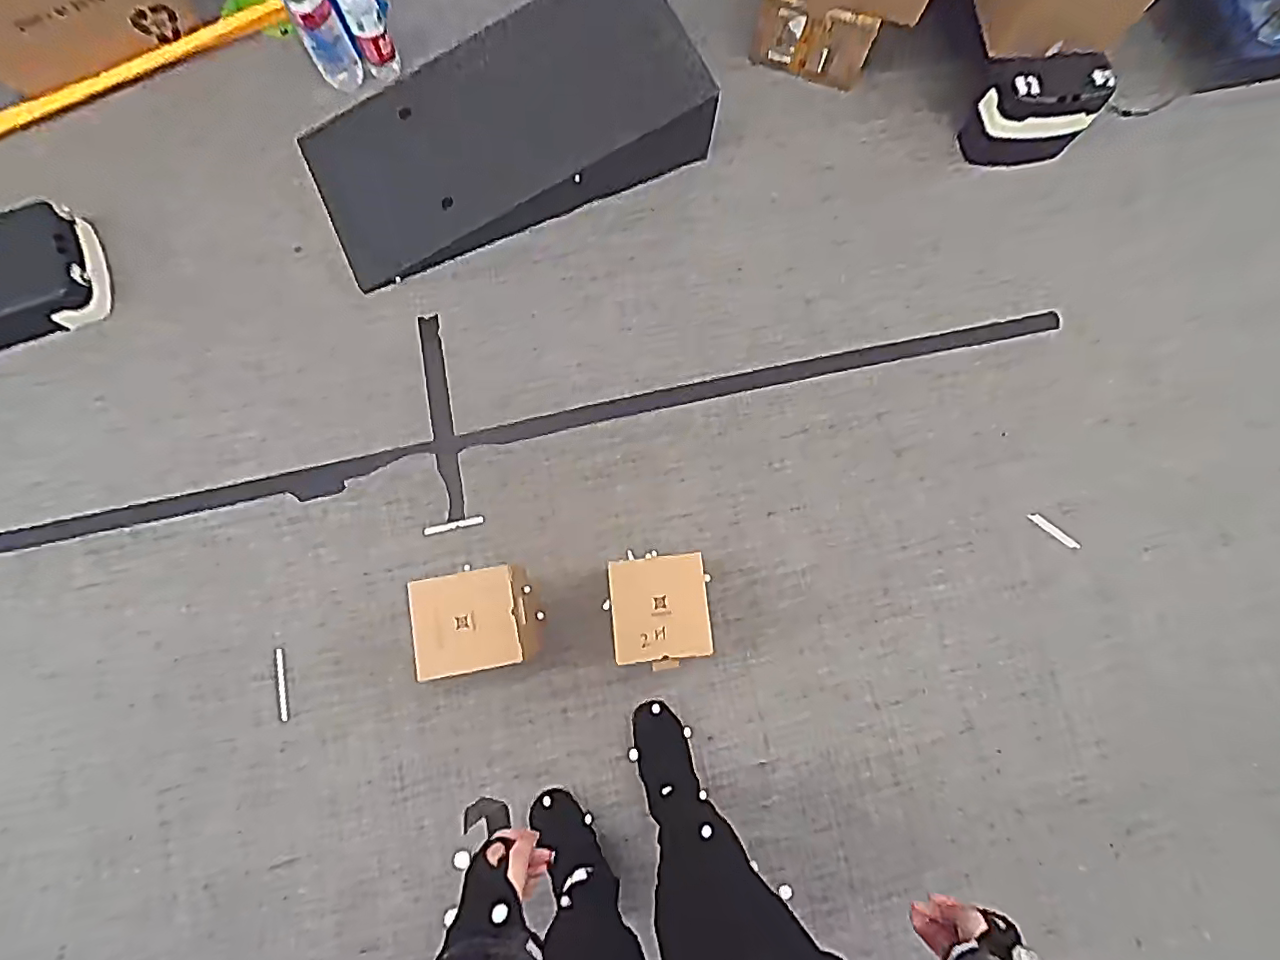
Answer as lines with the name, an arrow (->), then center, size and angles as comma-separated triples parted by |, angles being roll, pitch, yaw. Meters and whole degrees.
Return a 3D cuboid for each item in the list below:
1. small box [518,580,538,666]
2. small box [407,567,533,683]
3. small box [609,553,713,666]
small box -> -0.308, 0.299, 1.129 | 0.179, 0.176, 0.168 | -5, 79, -5
small box -> -0.294, 0.253, 0.972 | 0.179, 0.176, 0.168 | -10, 79, -4
small box -> 0.029, 0.233, 0.989 | 0.168, 0.176, 0.179 | -5, 79, -3
